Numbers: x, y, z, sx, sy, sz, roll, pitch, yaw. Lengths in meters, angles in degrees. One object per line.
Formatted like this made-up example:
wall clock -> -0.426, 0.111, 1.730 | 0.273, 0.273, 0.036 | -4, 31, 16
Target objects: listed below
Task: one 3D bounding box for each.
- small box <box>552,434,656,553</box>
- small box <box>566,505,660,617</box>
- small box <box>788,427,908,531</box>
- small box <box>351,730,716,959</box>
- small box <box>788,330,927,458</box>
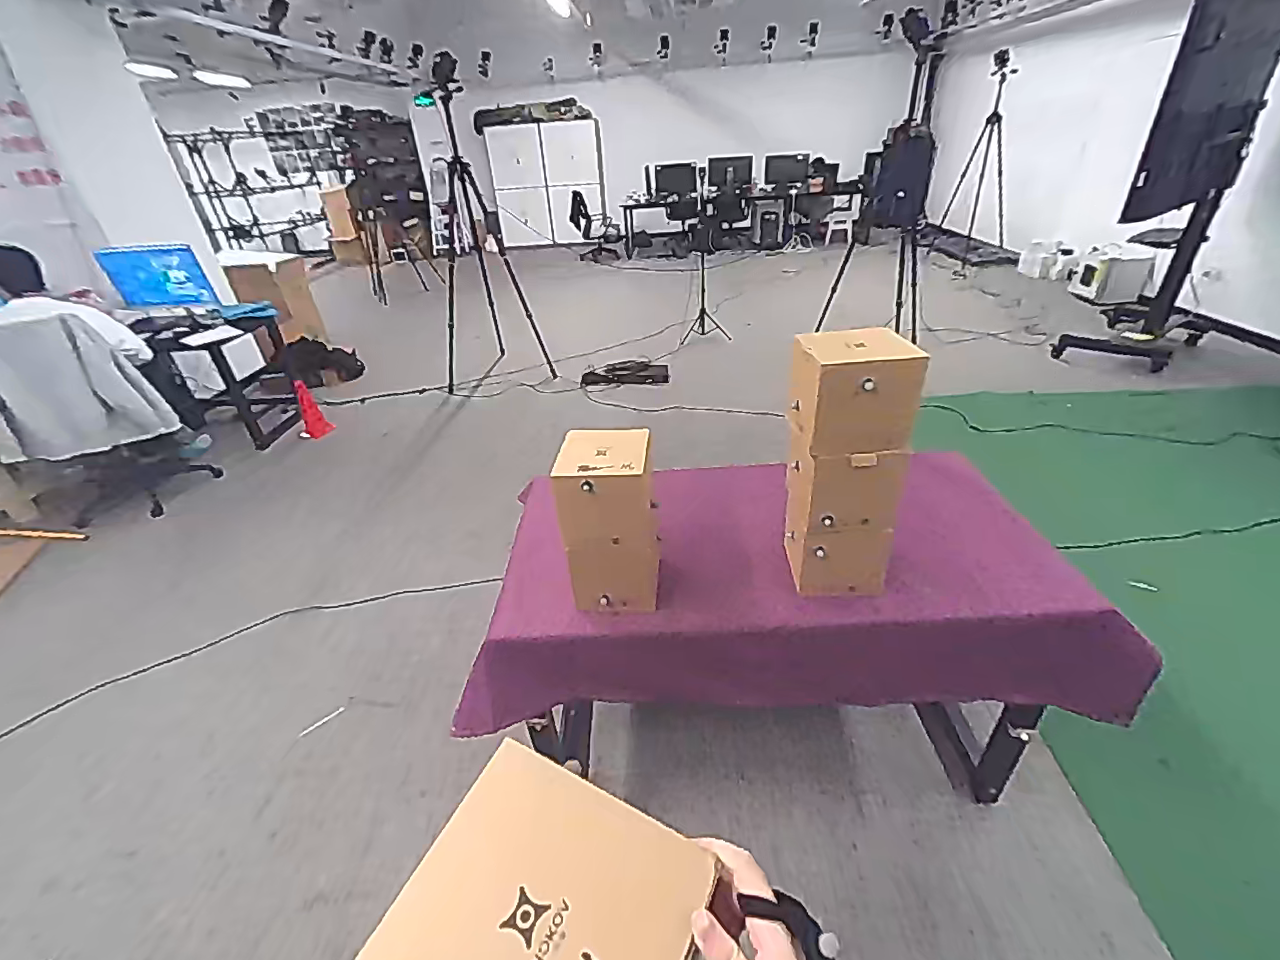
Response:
small box -> -0.060, 0.024, 1.047 | 0.168, 0.176, 0.179 | -2, 31, 7
small box -> -0.047, 0.164, 1.133 | 0.168, 0.176, 0.179 | -1, 32, 7
small box -> 0.388, -0.013, 1.041 | 0.168, 0.176, 0.179 | -4, 30, 2
small box -> -0.056, 0.320, 0.383 | 0.179, 0.176, 0.168 | 15, 47, 22
small box -> 0.372, -0.153, 0.959 | 0.179, 0.176, 0.168 | -5, 31, 2
